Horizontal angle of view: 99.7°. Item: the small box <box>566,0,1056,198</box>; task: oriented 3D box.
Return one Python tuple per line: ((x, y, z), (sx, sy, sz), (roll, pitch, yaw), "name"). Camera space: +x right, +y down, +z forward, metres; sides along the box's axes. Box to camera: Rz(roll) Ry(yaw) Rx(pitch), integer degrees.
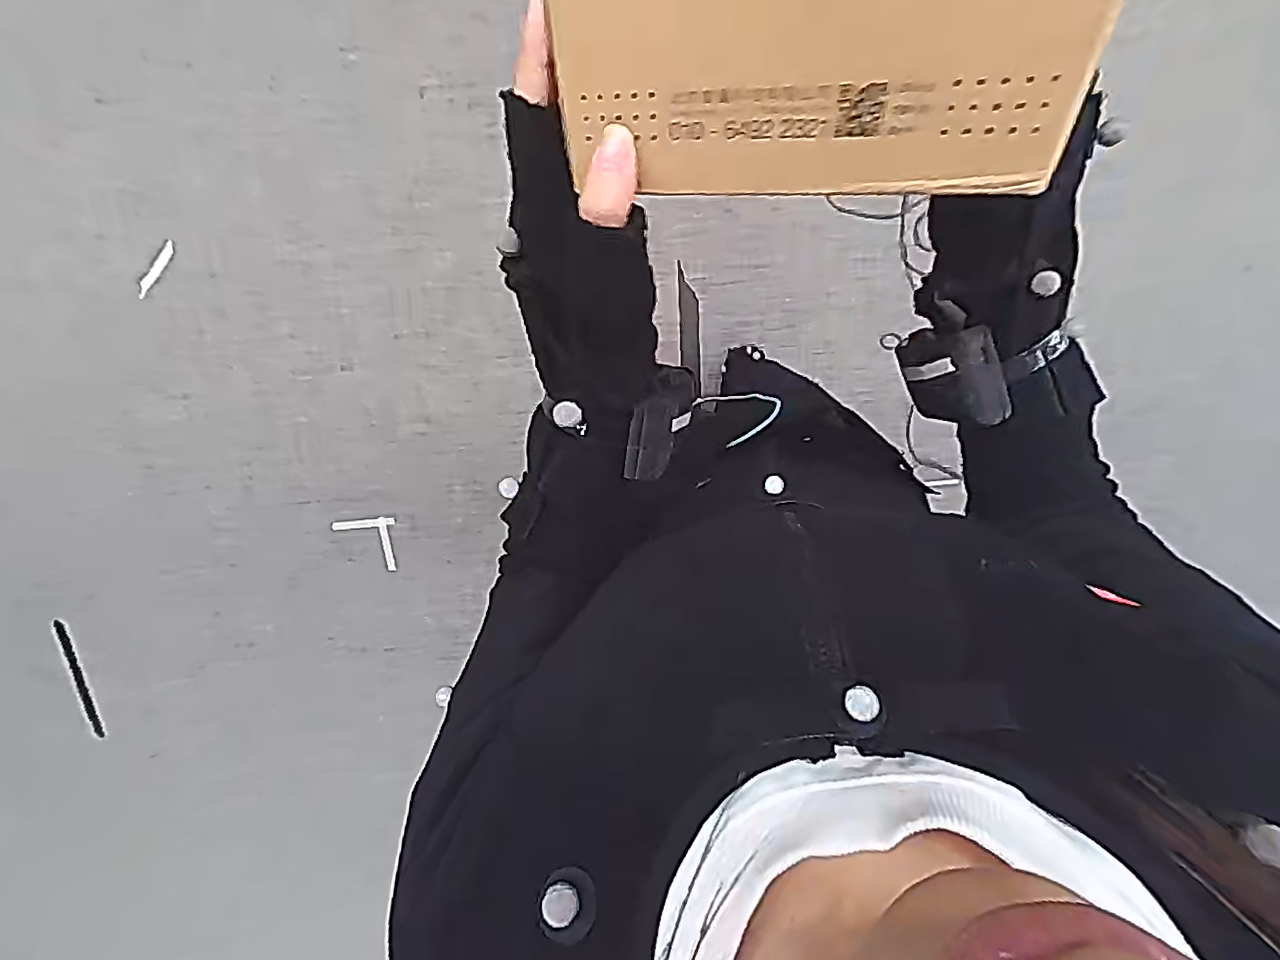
((0.071, -0.229, 0.216), (0.168, 0.179, 0.176), (10, 138, 16), "small box")
